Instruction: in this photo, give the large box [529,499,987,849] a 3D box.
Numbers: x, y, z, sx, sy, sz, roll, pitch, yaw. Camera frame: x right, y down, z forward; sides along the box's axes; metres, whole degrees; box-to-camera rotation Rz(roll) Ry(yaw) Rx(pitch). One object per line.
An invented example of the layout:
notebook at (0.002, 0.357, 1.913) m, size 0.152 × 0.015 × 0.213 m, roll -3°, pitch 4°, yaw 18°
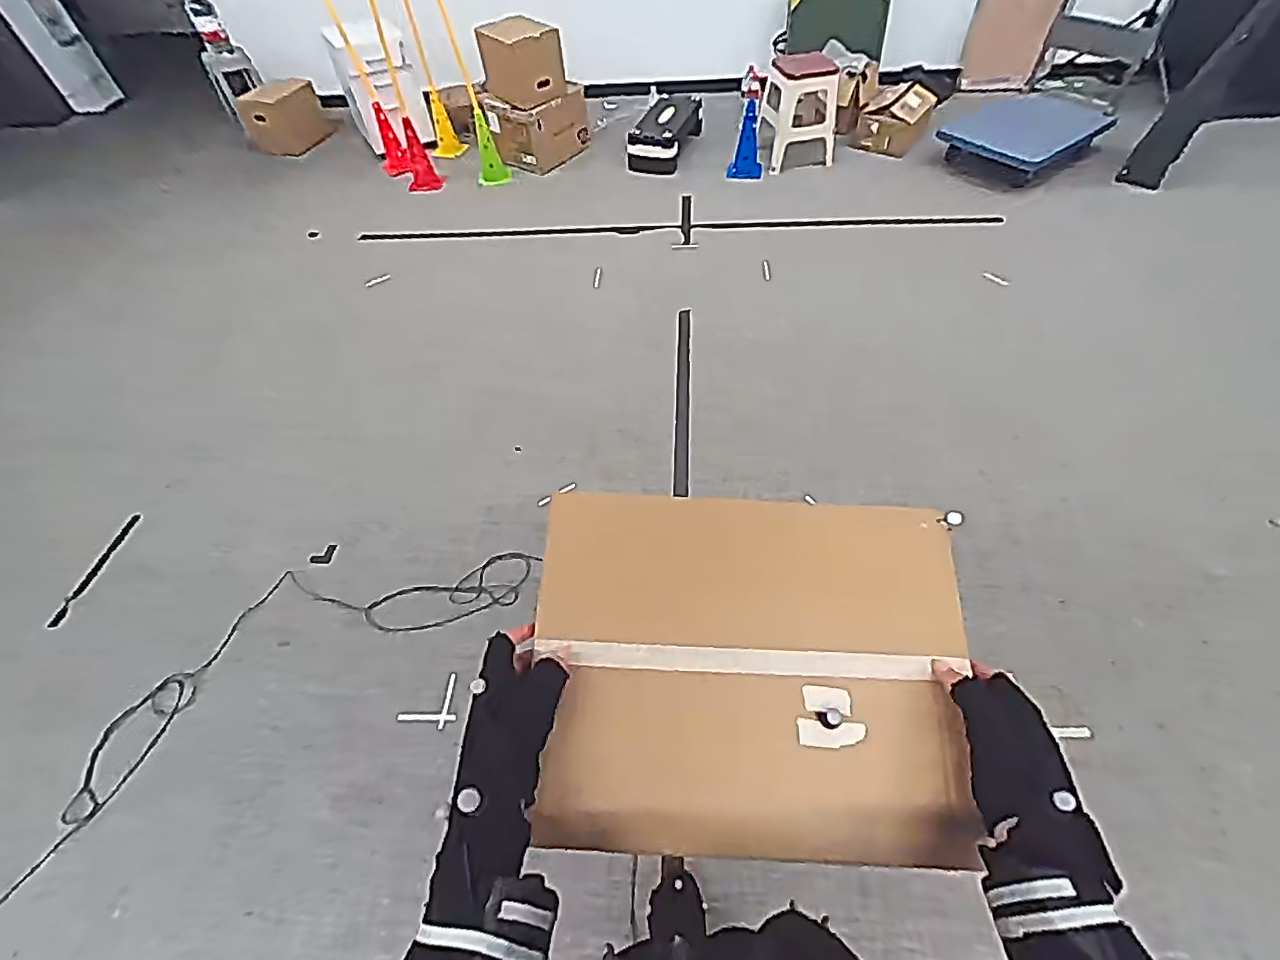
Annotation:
large box at (0.101, 0.222, 0.653) m, size 0.408 × 0.320 × 0.320 m, roll 2°, pitch 70°, yaw 0°
